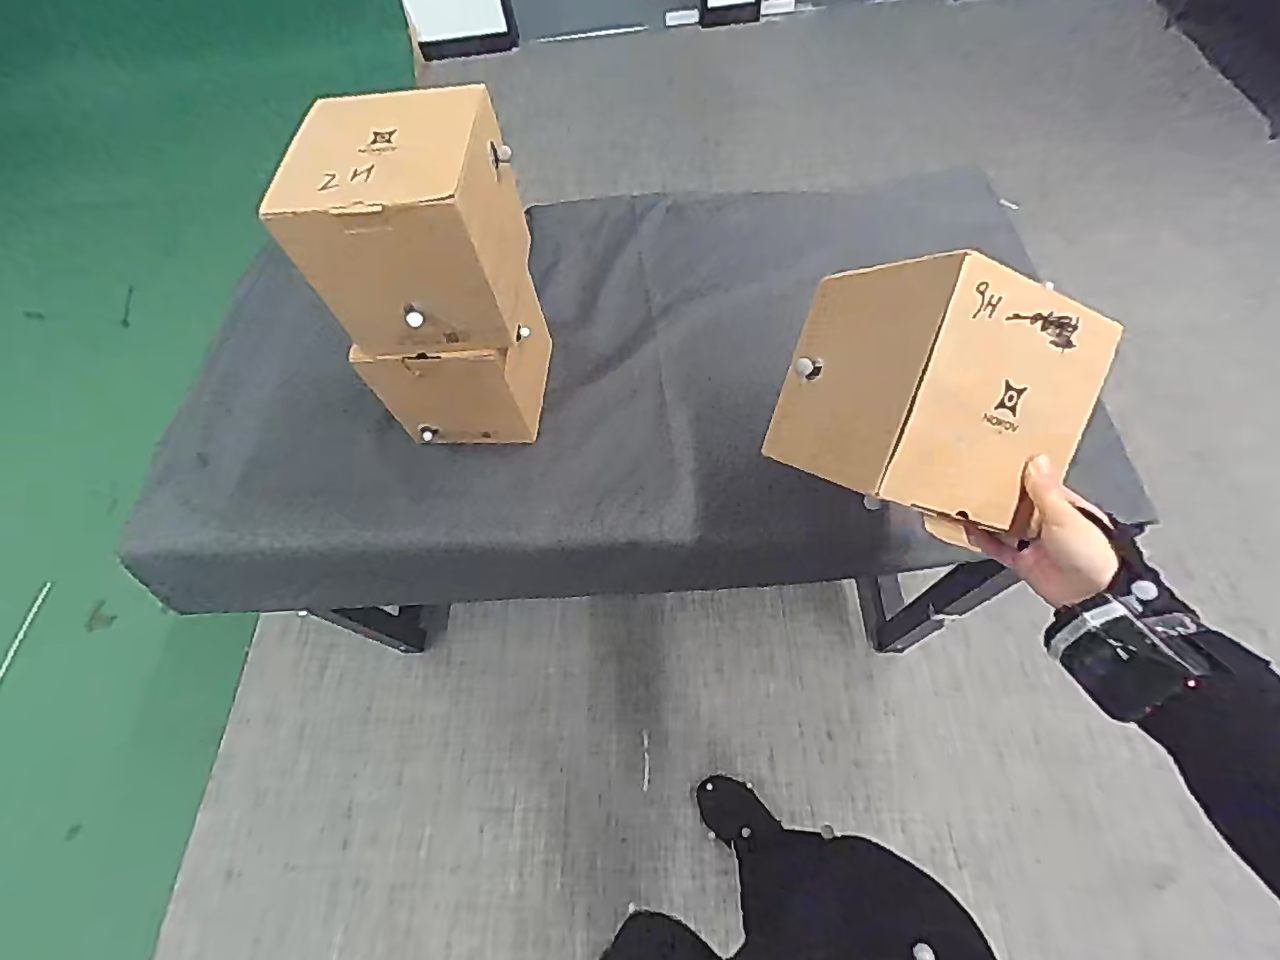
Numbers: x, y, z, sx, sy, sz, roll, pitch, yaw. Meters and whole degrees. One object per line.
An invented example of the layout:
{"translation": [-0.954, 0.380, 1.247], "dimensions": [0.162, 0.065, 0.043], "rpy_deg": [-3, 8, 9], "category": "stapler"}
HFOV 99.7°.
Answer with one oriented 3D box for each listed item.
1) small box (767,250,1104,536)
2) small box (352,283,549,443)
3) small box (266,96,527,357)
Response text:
{"translation": [0.236, -0.073, 0.476], "dimensions": [0.168, 0.176, 0.179], "rpy_deg": [14, 98, -19], "category": "small box"}
{"translation": [-0.221, -0.159, 0.687], "dimensions": [0.168, 0.176, 0.179], "rpy_deg": [0, 60, 5], "category": "small box"}
{"translation": [-0.219, -0.247, 0.546], "dimensions": [0.168, 0.176, 0.179], "rpy_deg": [-3, 61, 5], "category": "small box"}
